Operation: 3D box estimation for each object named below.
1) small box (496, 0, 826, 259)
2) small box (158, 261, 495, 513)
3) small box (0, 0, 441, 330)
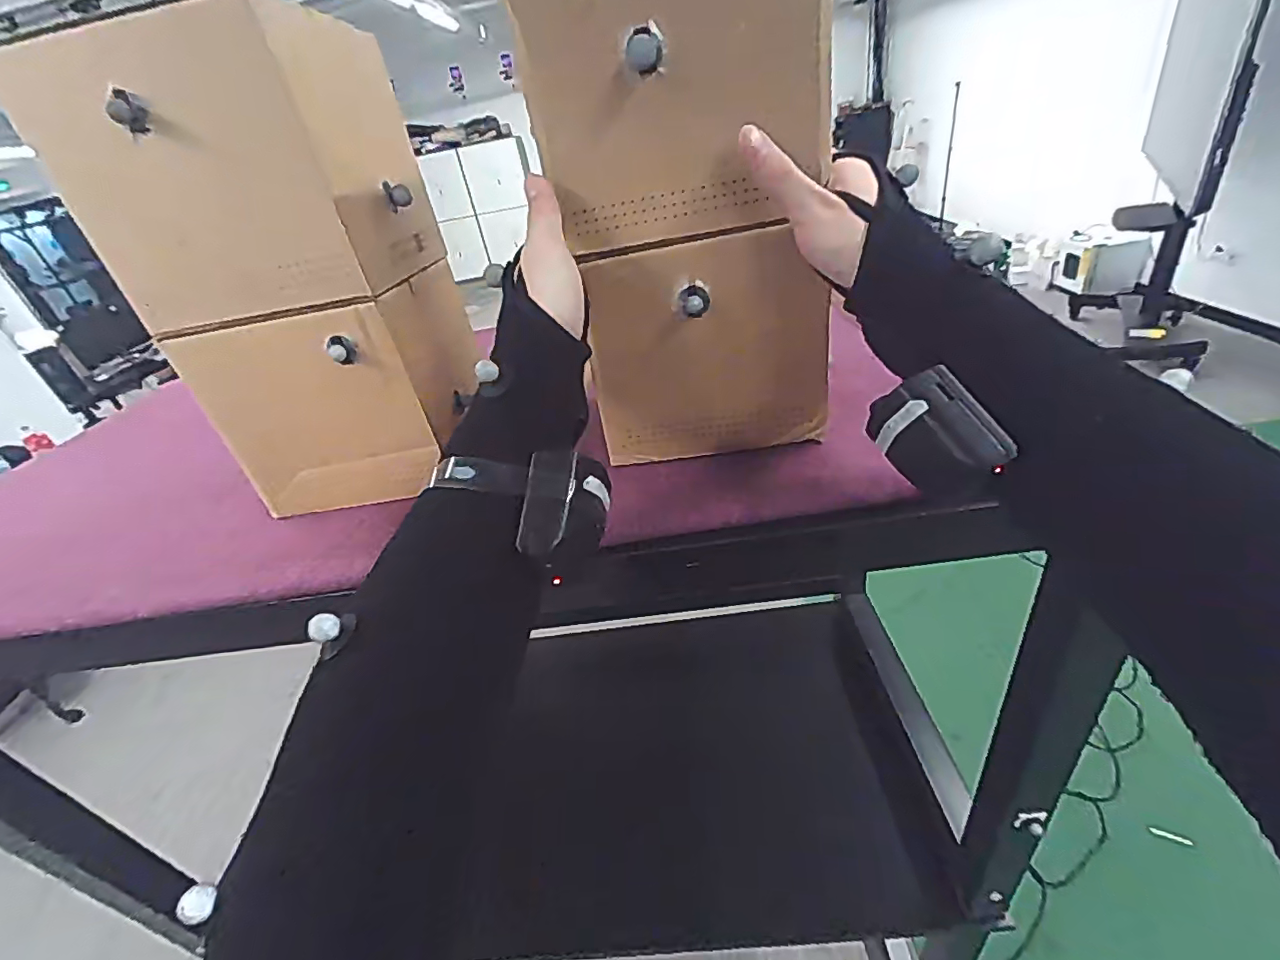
[{"bbox_3d":[0.020,-0.263,0.369,0.179,0.176,0.168,-8,33,8],"label":"small box"},{"bbox_3d":[-0.255,-0.084,0.494,0.179,0.176,0.168,-8,32,4],"label":"small box"},{"bbox_3d":[-0.283,-0.223,0.408,0.179,0.176,0.168,-8,32,6],"label":"small box"}]
